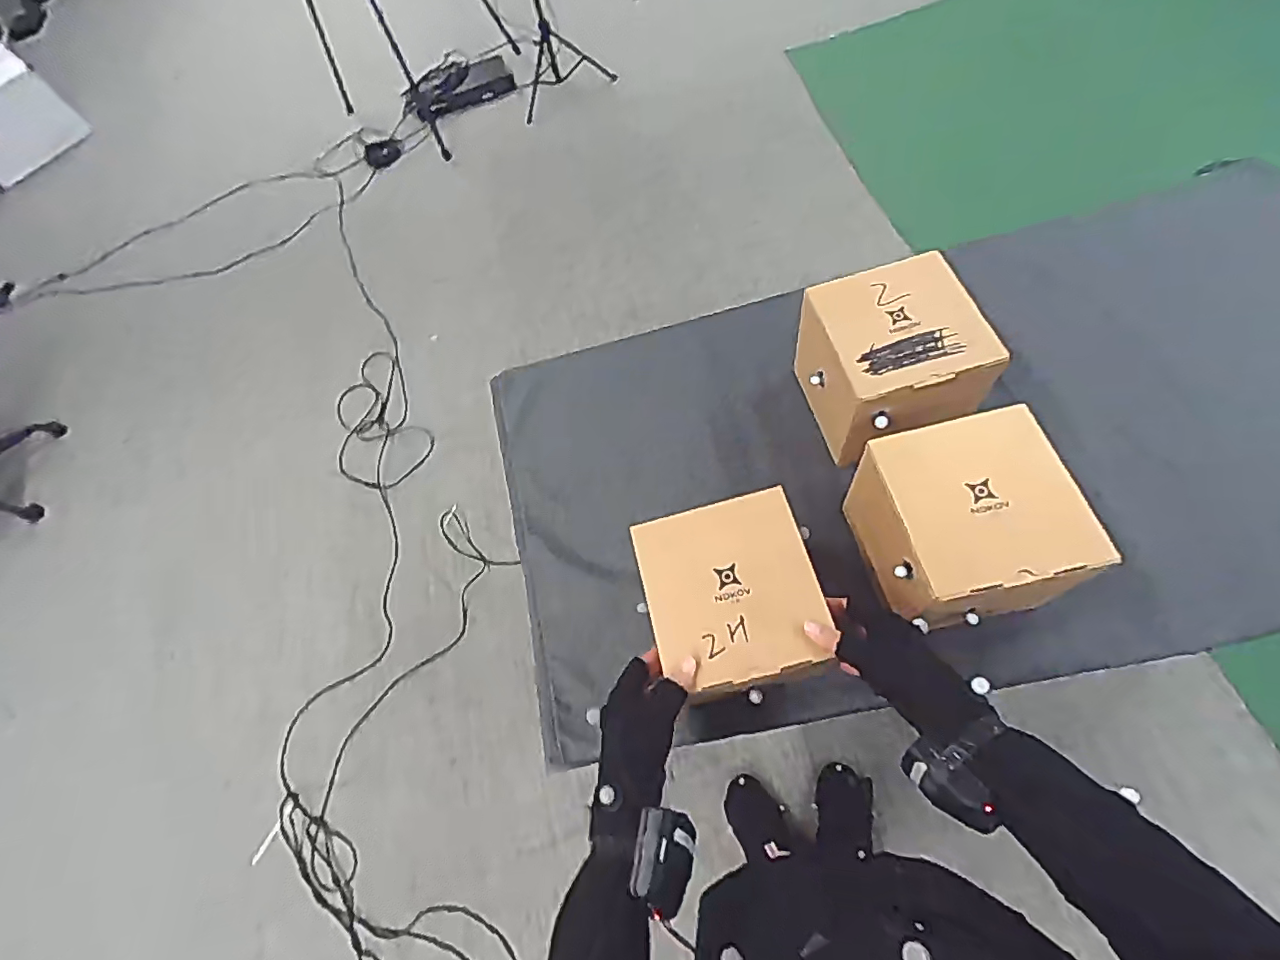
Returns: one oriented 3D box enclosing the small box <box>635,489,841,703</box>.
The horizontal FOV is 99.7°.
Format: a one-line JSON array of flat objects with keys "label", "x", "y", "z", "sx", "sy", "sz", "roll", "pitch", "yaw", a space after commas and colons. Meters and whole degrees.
[{"label": "small box", "x": 0.101, "y": 0.137, "z": 0.604, "sx": 0.168, "sy": 0.176, "sz": 0.179, "roll": -16, "pitch": 64, "yaw": 4}]
